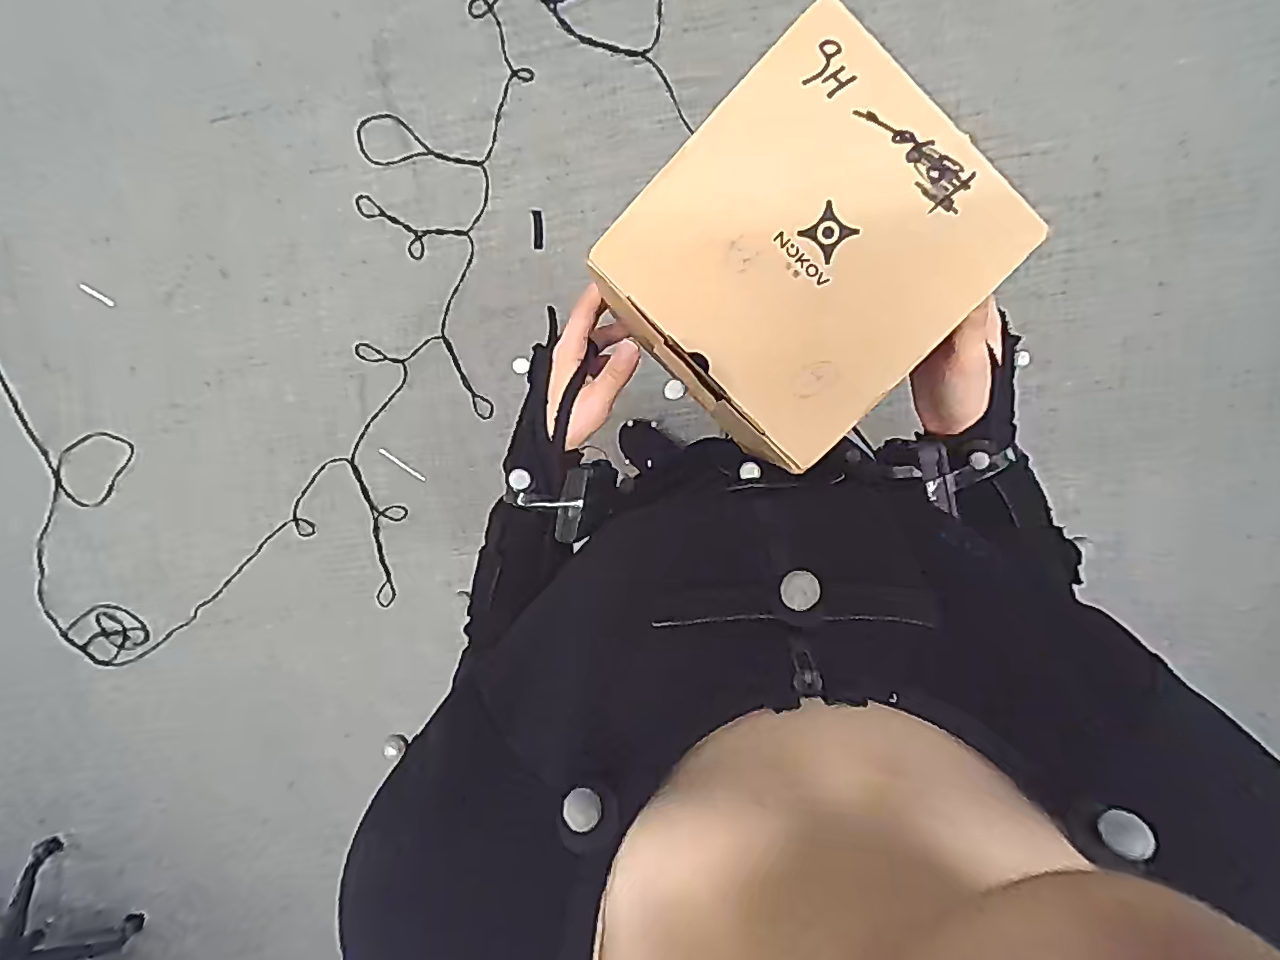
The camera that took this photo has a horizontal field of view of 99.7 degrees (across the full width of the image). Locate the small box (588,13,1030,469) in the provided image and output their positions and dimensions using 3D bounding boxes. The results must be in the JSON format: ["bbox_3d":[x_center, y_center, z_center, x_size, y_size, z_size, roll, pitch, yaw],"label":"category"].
[{"bbox_3d":[0.092,-0.131,0.367,0.168,0.176,0.179,44,98,-3],"label":"small box"}]
